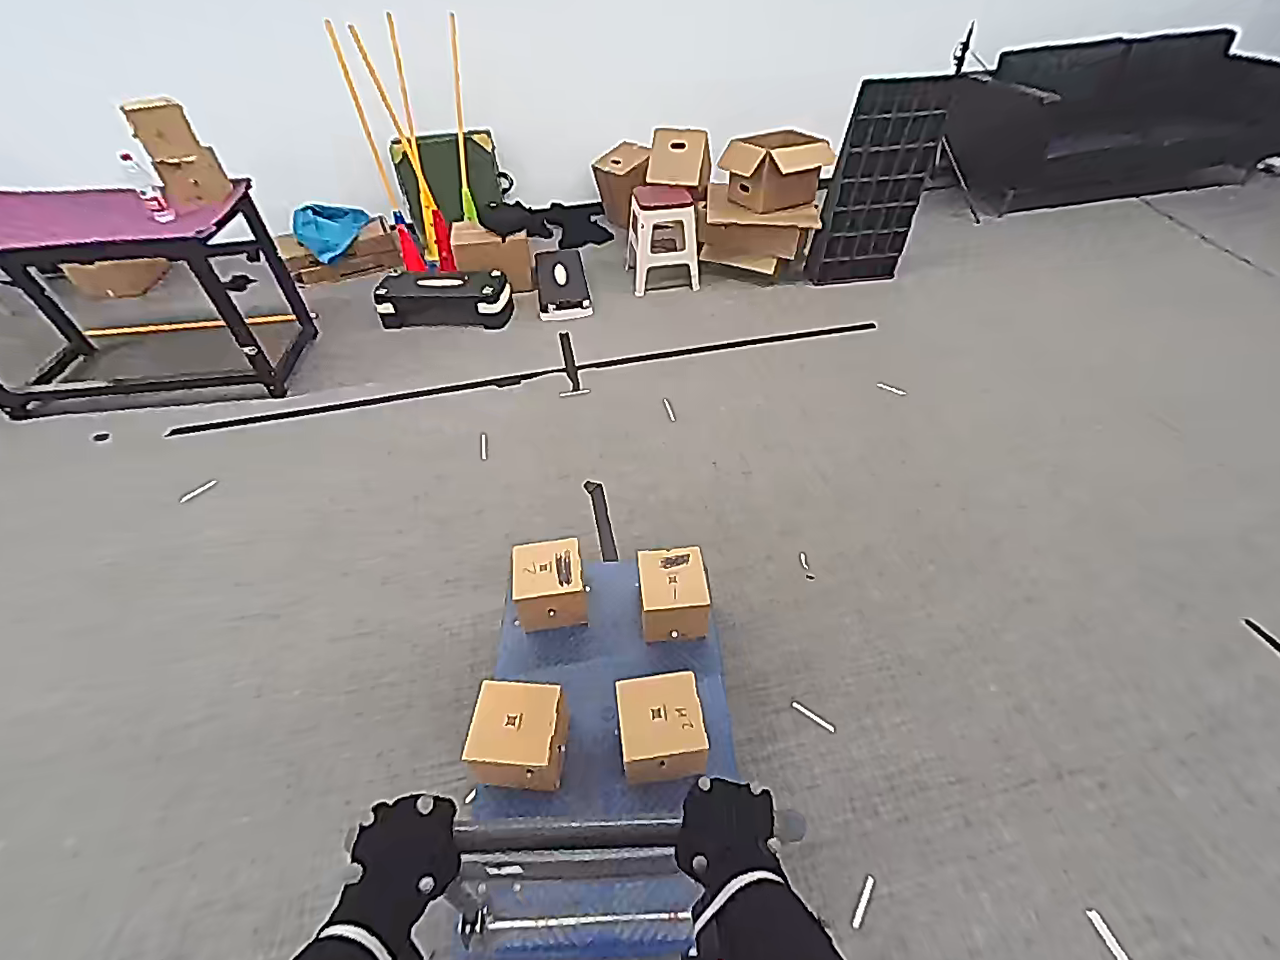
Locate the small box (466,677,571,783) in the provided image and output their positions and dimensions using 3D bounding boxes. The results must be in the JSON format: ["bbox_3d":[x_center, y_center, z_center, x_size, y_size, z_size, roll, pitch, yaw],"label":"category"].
[{"bbox_3d":[-0.258,0.554,1.193,0.179,0.176,0.168,3,46,3],"label":"small box"}]

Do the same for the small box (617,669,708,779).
[{"bbox_3d":[0.046,0.542,1.195,0.179,0.176,0.168,-6,47,-4],"label":"small box"}]

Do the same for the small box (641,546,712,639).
[{"bbox_3d":[0.088,0.298,1.426,0.168,0.176,0.179,-4,47,-2],"label":"small box"}]
